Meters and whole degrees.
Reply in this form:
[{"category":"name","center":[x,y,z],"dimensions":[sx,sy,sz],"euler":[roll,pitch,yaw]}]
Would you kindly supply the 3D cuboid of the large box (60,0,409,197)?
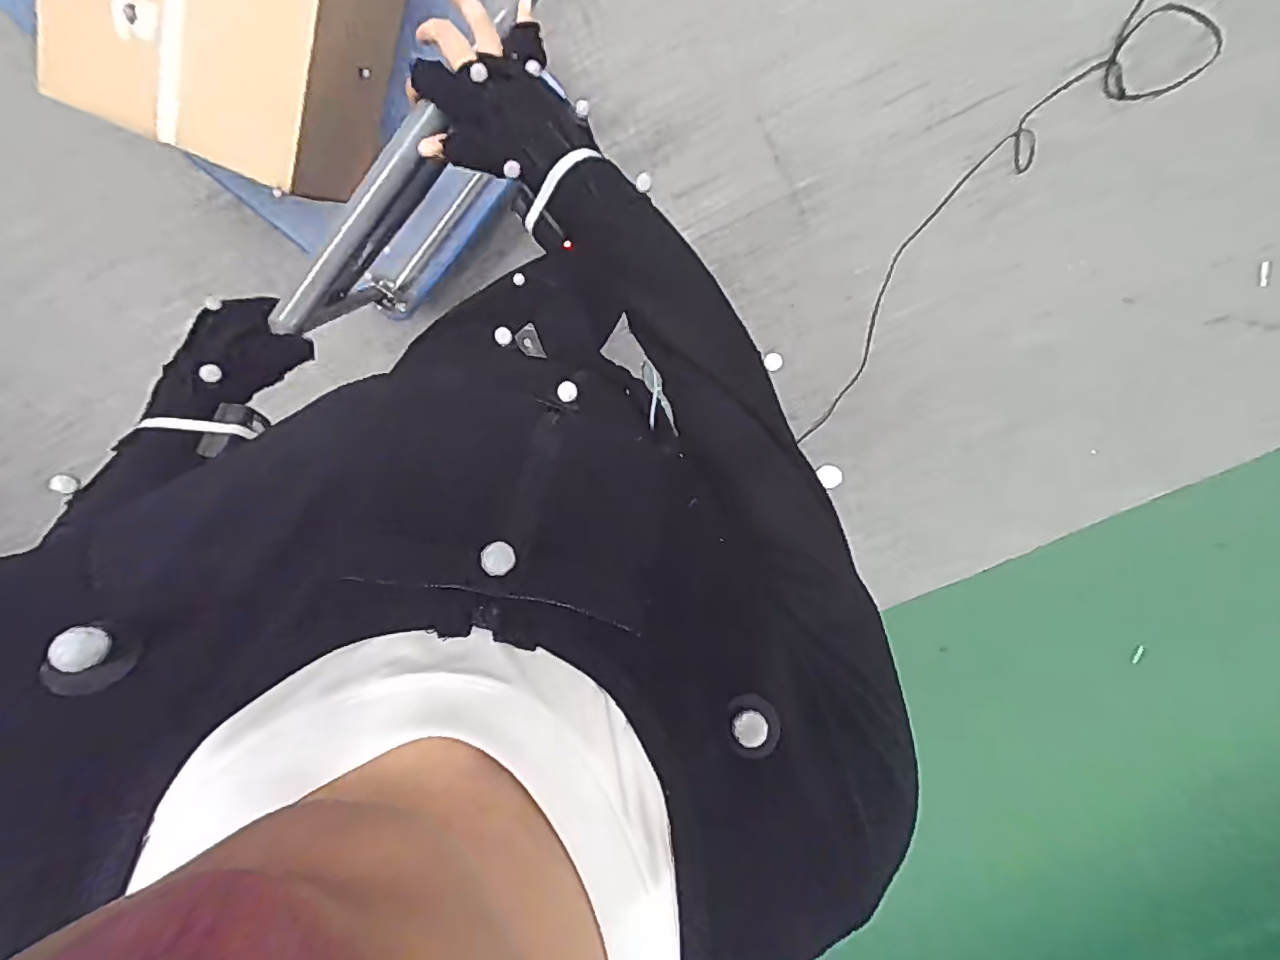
[{"category":"large box","center":[-0.576,-0.706,0.823],"dimensions":[0.320,0.320,0.408],"euler":[19,112,-14]}]
